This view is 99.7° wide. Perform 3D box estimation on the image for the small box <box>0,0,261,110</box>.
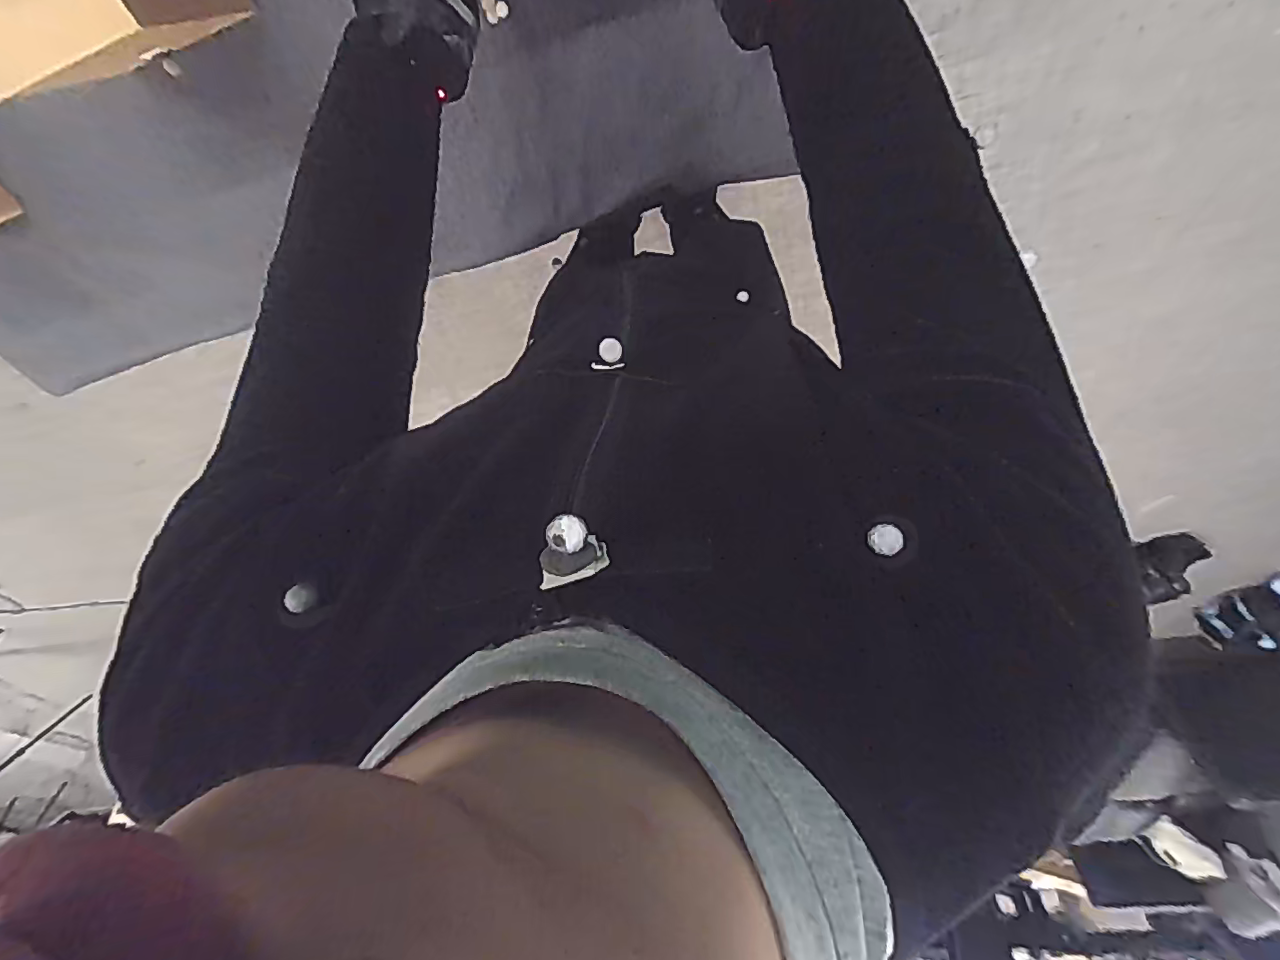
[{"bbox_3d":[-0.463,-0.433,0.425,0.168,0.176,0.179,-11,134,14],"label":"small box"}]
